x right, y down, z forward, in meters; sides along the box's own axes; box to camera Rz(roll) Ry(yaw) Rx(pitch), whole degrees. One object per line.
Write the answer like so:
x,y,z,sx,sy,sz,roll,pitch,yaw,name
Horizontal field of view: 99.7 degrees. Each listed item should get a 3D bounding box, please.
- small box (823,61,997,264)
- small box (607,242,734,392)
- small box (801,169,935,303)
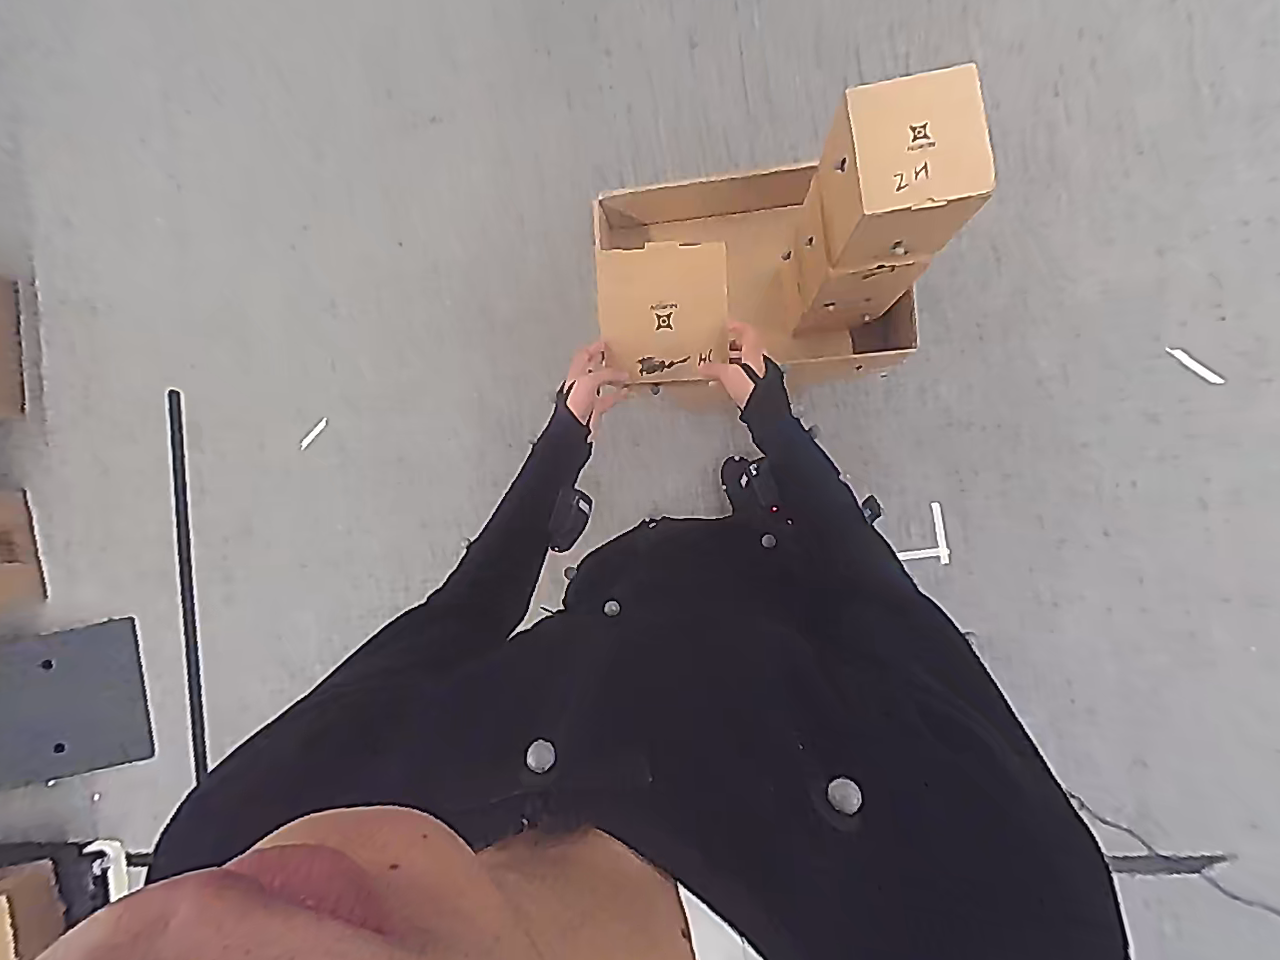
0.370,-0.437,0.772,0.168,0.176,0.179,-7,89,7,small box
0.047,-0.224,0.783,0.168,0.176,0.179,-2,96,7,small box
0.383,-0.421,0.935,0.168,0.176,0.179,-7,88,6,small box
